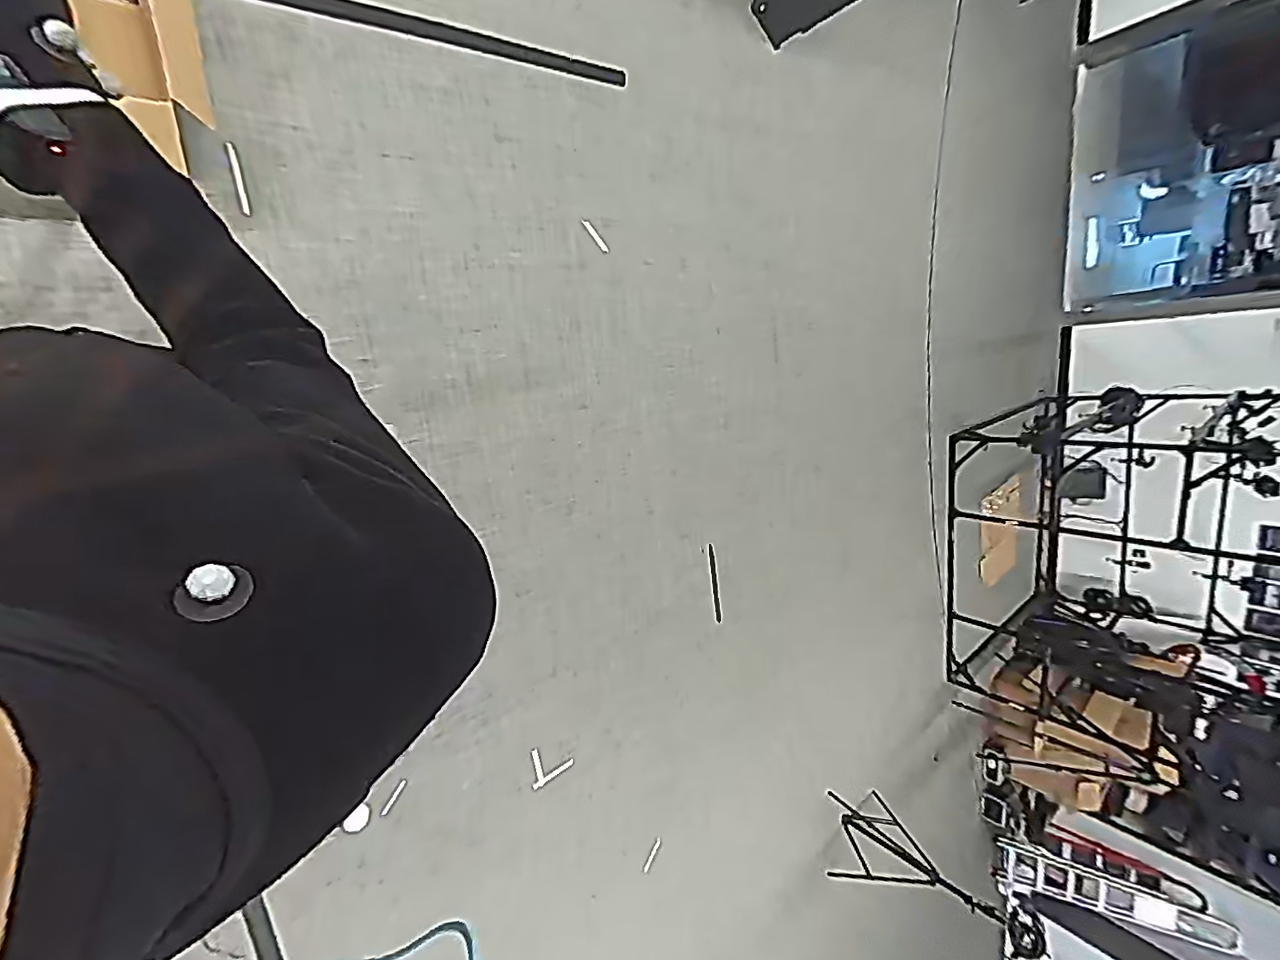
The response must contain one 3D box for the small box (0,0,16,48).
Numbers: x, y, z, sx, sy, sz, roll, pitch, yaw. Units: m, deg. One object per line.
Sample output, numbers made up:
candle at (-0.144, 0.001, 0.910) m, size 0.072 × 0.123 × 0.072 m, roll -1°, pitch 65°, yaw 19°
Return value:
small box at (-0.580, -0.429, 0.365) m, size 0.168 × 0.176 × 0.179 m, roll -19°, pitch 120°, yaw -38°
